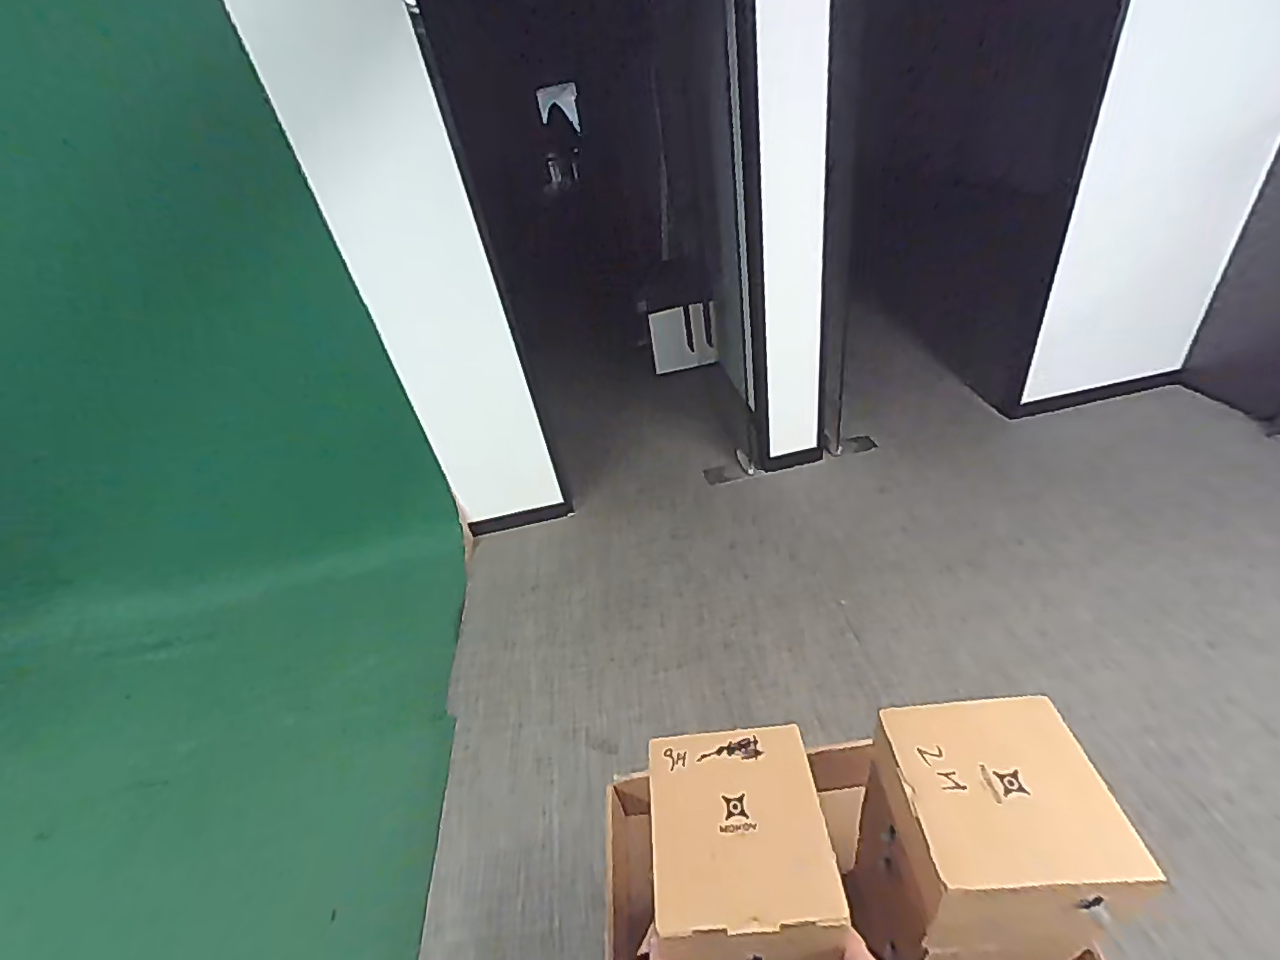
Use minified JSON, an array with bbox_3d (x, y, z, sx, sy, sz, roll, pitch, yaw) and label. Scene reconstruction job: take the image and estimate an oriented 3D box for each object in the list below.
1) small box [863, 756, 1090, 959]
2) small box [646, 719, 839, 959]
[{"bbox_3d":[0.383,0.469,0.659,0.168,0.176,0.179,-10,37,6],"label":"small box"},{"bbox_3d":[0.101,0.384,0.571,0.168,0.176,0.179,-8,36,5],"label":"small box"}]
